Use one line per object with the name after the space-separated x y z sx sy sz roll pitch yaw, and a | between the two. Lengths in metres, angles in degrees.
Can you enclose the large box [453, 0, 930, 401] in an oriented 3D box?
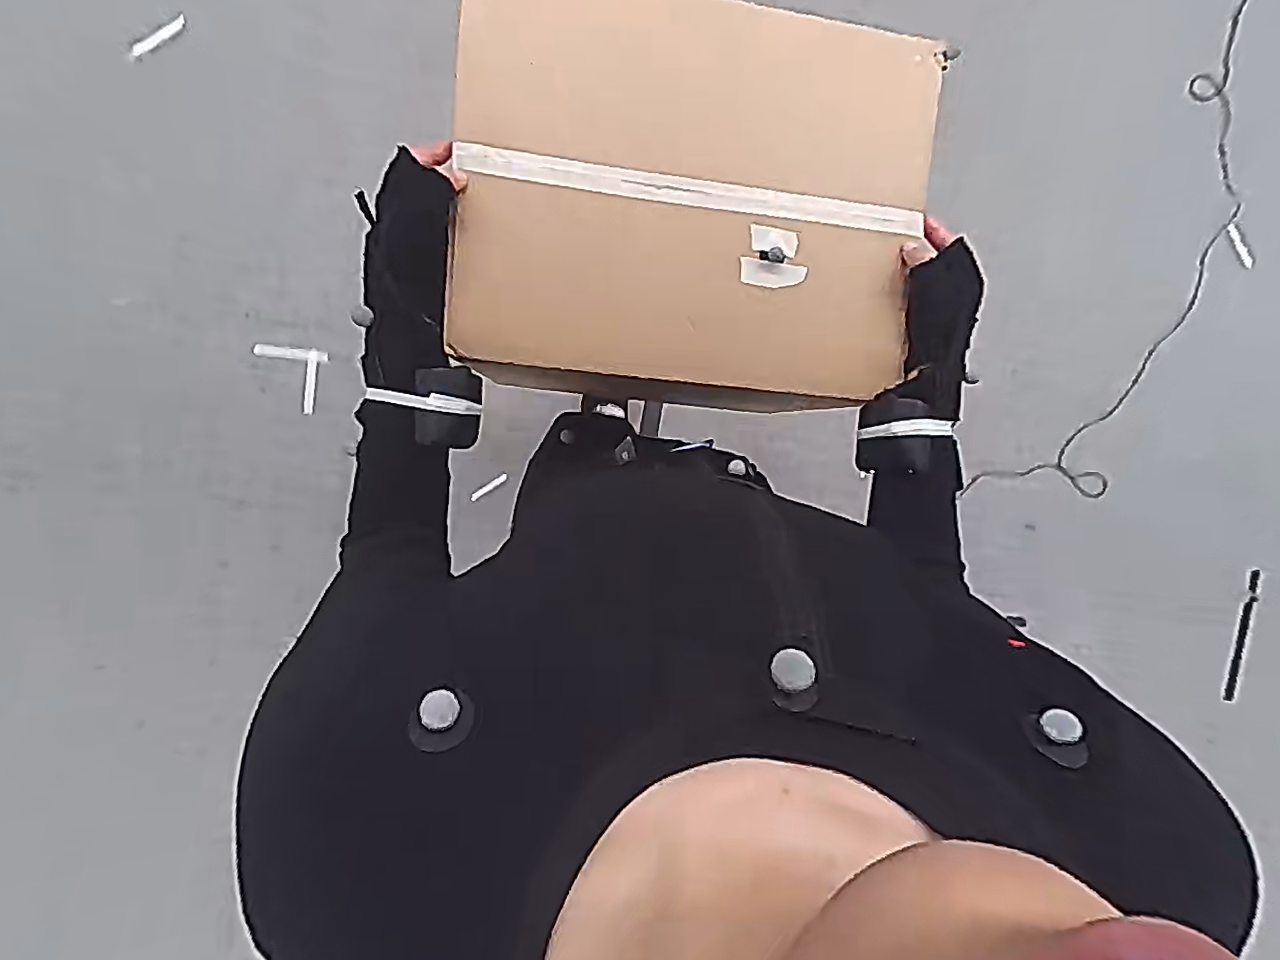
0.028 -0.266 0.610 0.408 0.320 0.320 5 96 -9 | large box
